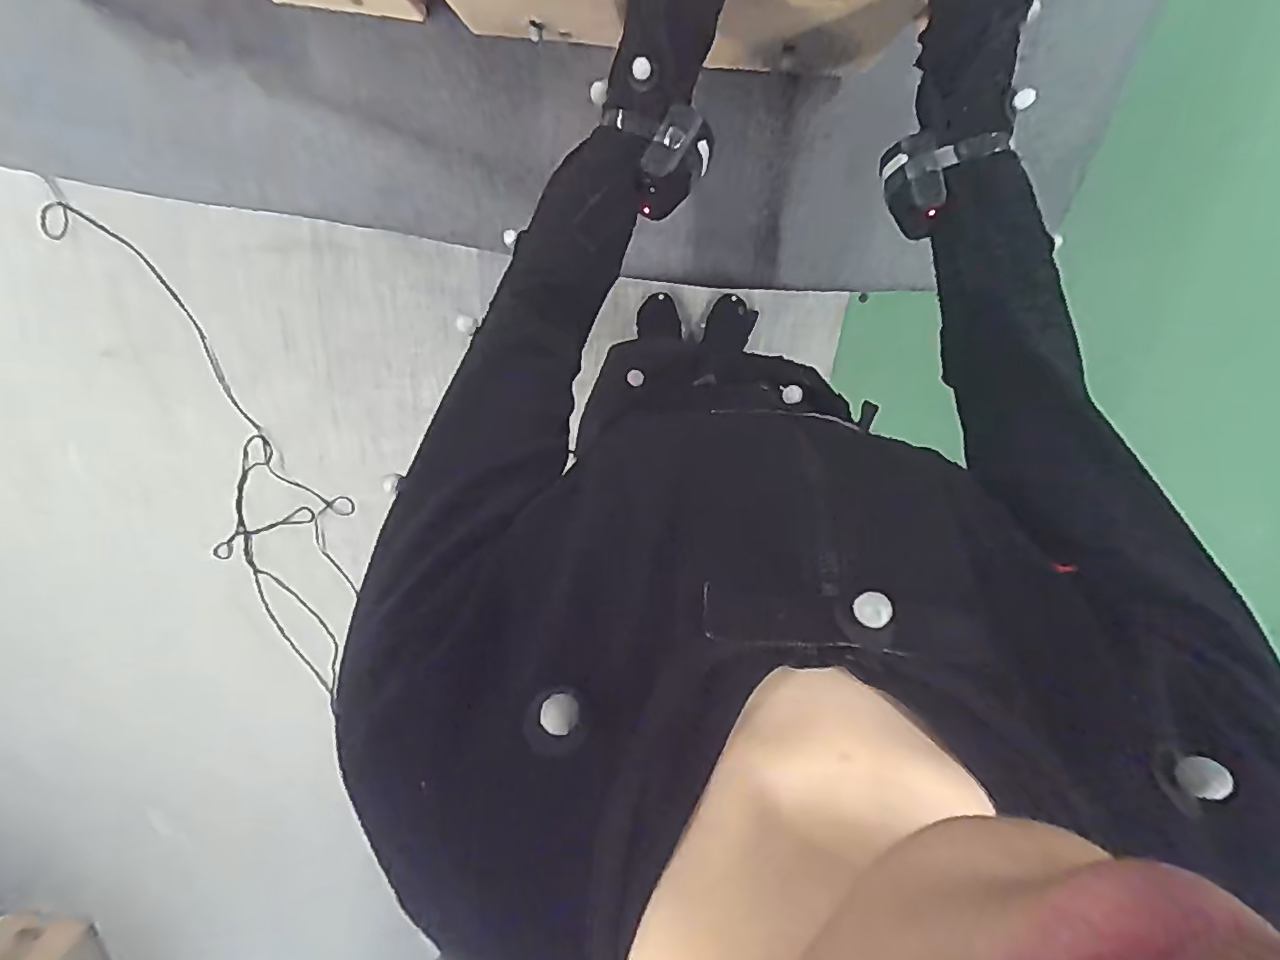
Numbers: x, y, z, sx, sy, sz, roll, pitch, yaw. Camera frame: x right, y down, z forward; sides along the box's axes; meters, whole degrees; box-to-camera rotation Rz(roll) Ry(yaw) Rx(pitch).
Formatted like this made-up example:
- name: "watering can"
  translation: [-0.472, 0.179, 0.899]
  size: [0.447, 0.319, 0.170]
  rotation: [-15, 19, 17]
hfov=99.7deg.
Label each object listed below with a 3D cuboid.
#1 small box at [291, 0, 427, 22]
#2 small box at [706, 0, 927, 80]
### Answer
- name: "small box"
  translation: [-0.296, -0.543, 0.470]
  size: [0.168, 0.176, 0.179]
  rotation: [8, 110, 1]
- name: "small box"
  translation: [0.148, -0.472, 0.449]
  size: [0.168, 0.176, 0.179]
  rotation: [6, 110, 2]
